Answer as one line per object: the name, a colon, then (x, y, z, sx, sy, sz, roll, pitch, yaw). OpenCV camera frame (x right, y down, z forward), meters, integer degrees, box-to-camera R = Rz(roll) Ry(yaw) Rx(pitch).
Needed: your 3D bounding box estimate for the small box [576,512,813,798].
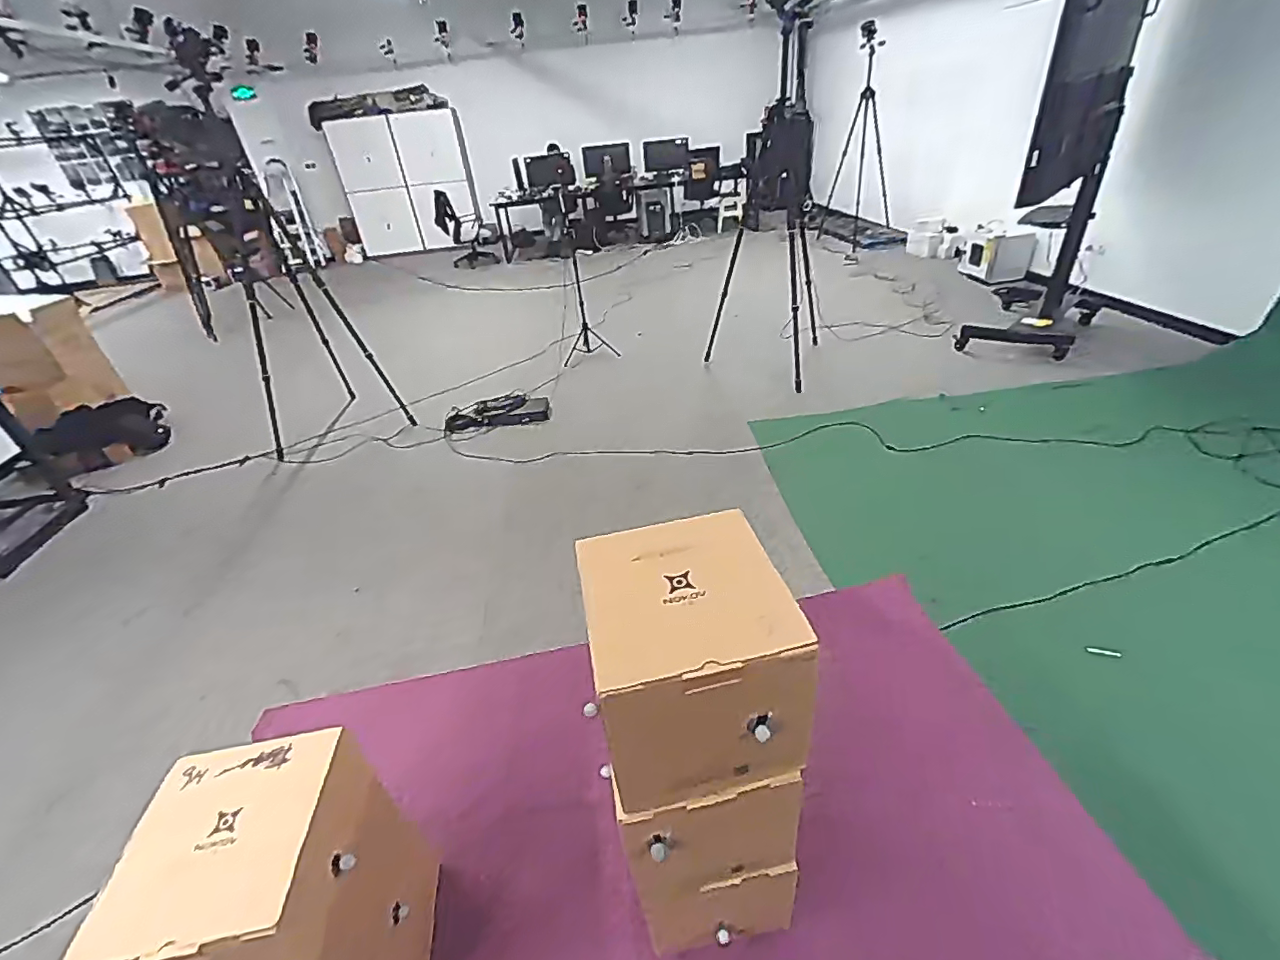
small box: (0.041, 0.158, 0.491, 0.168, 0.176, 0.179, -10, 33, -6)

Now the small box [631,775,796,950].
small box: (0.079, 0.431, 0.668, 0.168, 0.176, 0.179, -10, 34, -3)

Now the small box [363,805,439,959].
small box: (-0.343, 0.519, 0.619, 0.168, 0.176, 0.179, -11, 33, -6)

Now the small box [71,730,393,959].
small box: (-0.364, 0.384, 0.528, 0.168, 0.176, 0.179, -9, 35, -5)
